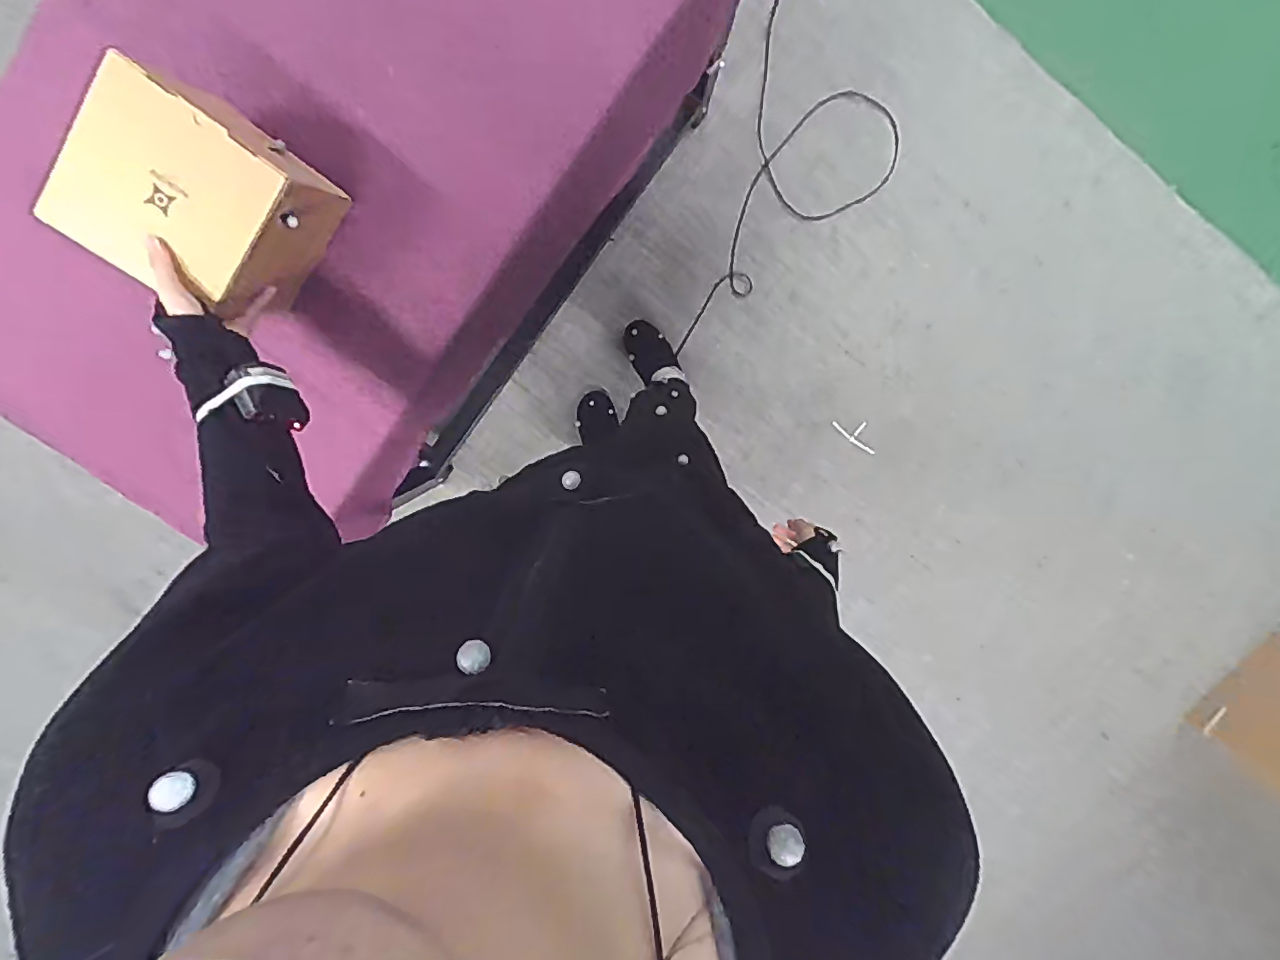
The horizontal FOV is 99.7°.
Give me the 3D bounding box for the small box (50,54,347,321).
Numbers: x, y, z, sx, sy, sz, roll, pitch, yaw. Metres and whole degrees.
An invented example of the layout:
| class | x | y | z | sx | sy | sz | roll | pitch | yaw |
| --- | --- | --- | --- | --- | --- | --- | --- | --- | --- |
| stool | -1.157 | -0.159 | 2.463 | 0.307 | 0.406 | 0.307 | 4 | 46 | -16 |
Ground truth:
| class | x | y | z | sx | sy | sz | roll | pitch | yaw |
| --- | --- | --- | --- | --- | --- | --- | --- | --- | --- |
| small box | -0.464 | -0.302 | 0.601 | 0.168 | 0.176 | 0.179 | 35 | 102 | -18 |
